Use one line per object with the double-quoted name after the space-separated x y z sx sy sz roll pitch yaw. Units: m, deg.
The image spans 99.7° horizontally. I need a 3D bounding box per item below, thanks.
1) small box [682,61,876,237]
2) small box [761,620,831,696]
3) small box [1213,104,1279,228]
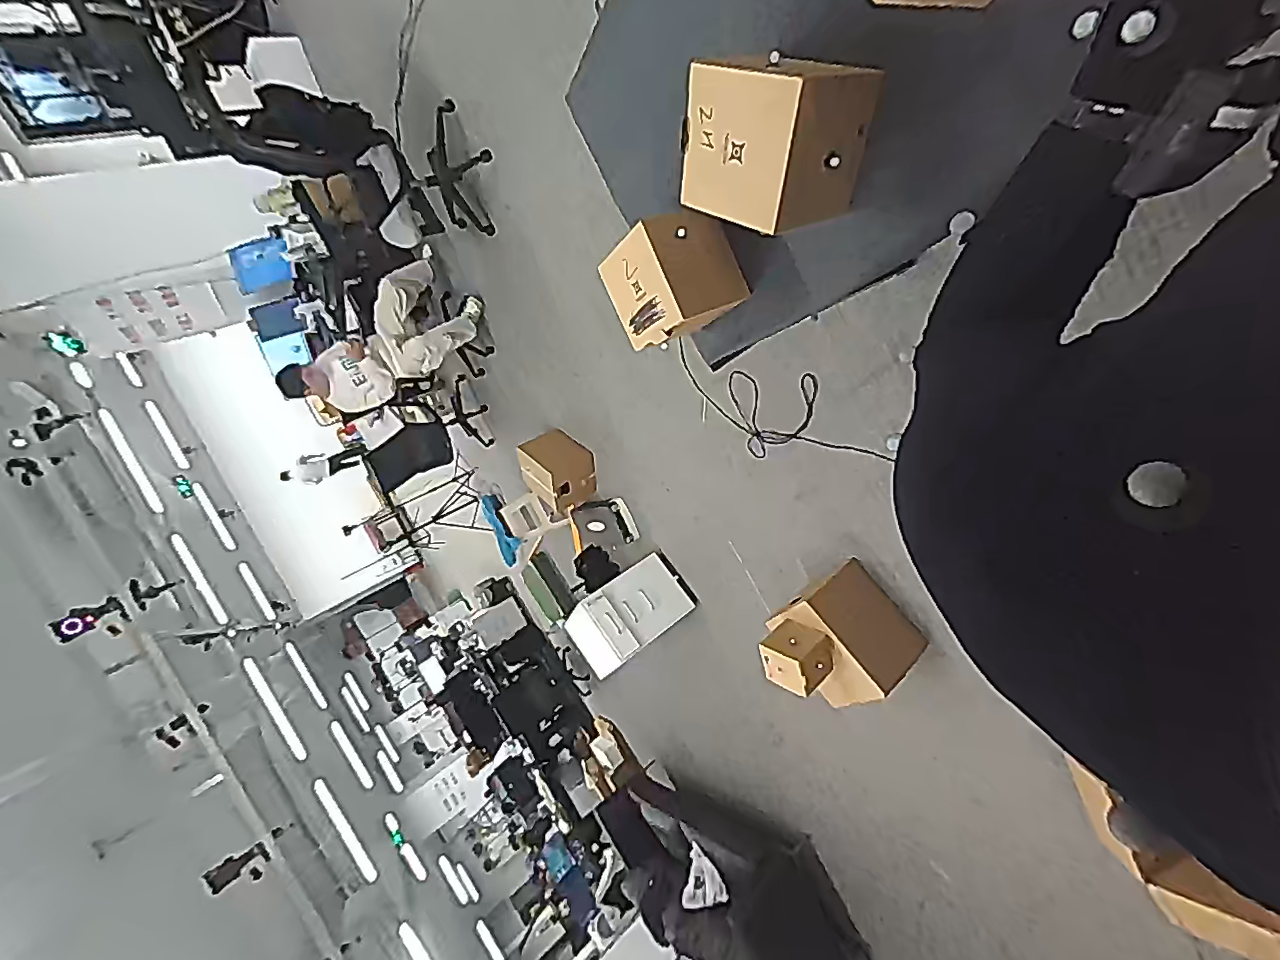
0.181 -0.450 0.726 0.179 0.176 0.168 39 143 33 "small box"
0.568 0.629 1.940 0.179 0.176 0.168 10 124 51 "small box"
1.053 -0.478 0.805 0.176 0.168 0.179 21 113 9 "small box"
